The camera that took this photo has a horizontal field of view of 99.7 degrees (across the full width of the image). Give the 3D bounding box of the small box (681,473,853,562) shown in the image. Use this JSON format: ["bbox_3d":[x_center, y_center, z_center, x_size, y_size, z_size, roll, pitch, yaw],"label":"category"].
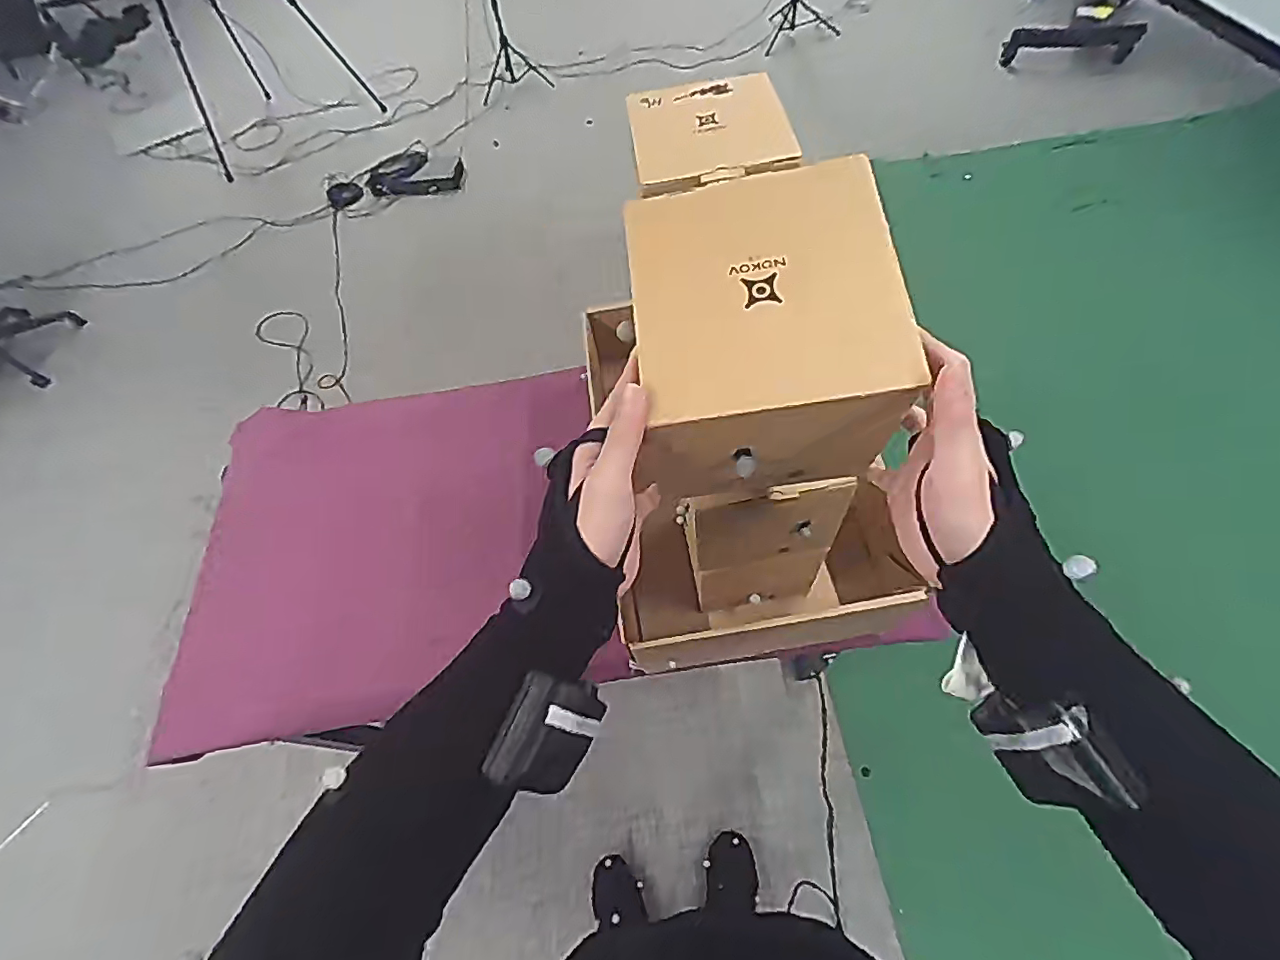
[{"bbox_3d":[0.133,-0.014,0.646,0.168,0.176,0.179,-9,58,2],"label":"small box"}]

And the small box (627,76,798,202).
[{"bbox_3d":[0.081,-0.338,0.652,0.168,0.176,0.179,-8,61,2],"label":"small box"}]

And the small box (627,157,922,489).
[{"bbox_3d":[0.090,-0.100,0.419,0.168,0.176,0.179,-8,69,8],"label":"small box"}]
